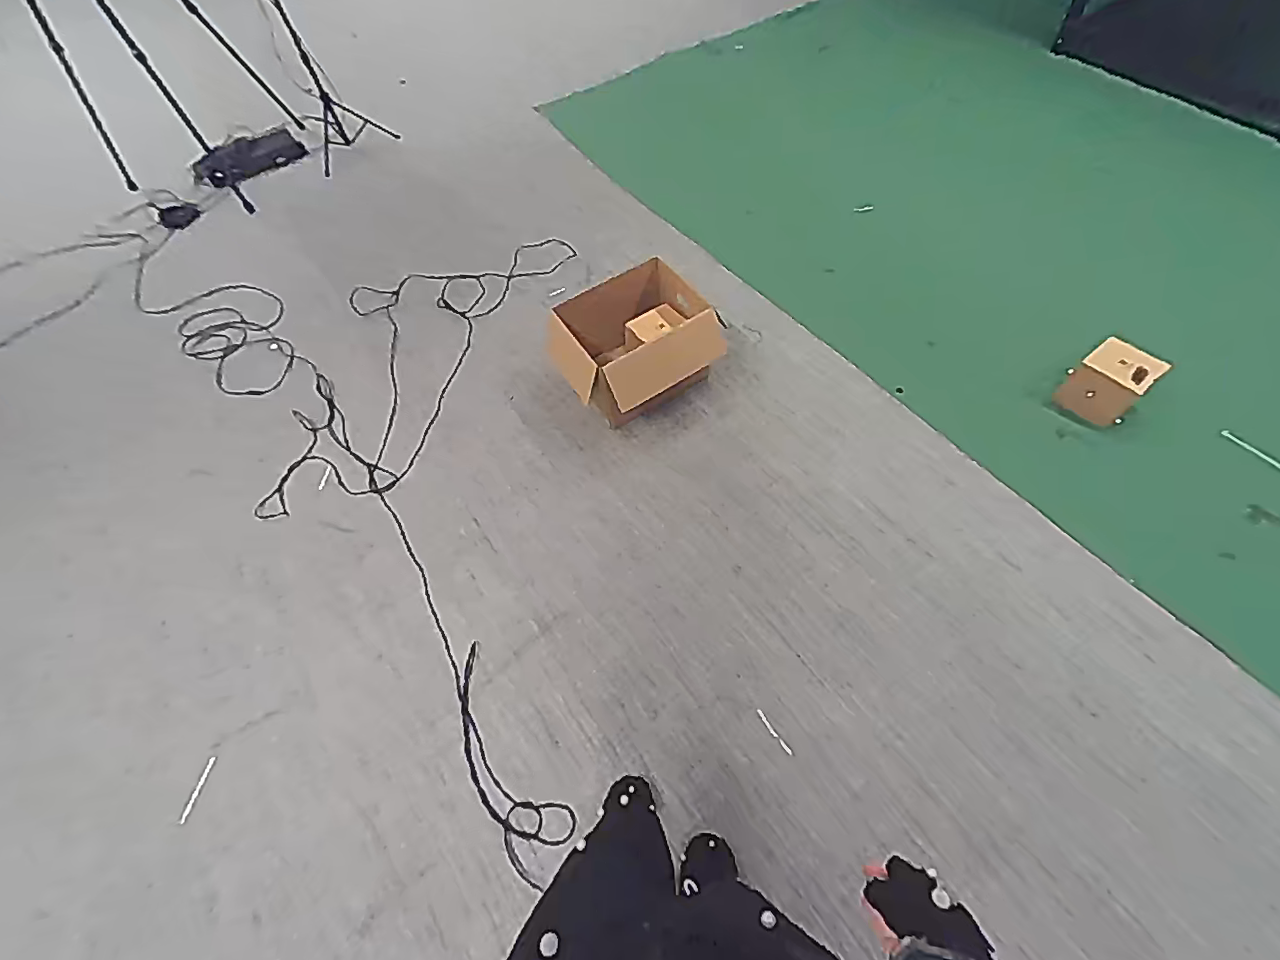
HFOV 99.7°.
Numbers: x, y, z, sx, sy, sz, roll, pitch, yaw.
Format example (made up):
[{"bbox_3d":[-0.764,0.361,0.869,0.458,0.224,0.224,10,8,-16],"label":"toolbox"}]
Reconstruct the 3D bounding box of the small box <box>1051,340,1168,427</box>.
[{"bbox_3d":[1.422,-0.285,1.650,0.168,0.176,0.179,-35,61,-16],"label":"small box"}]
